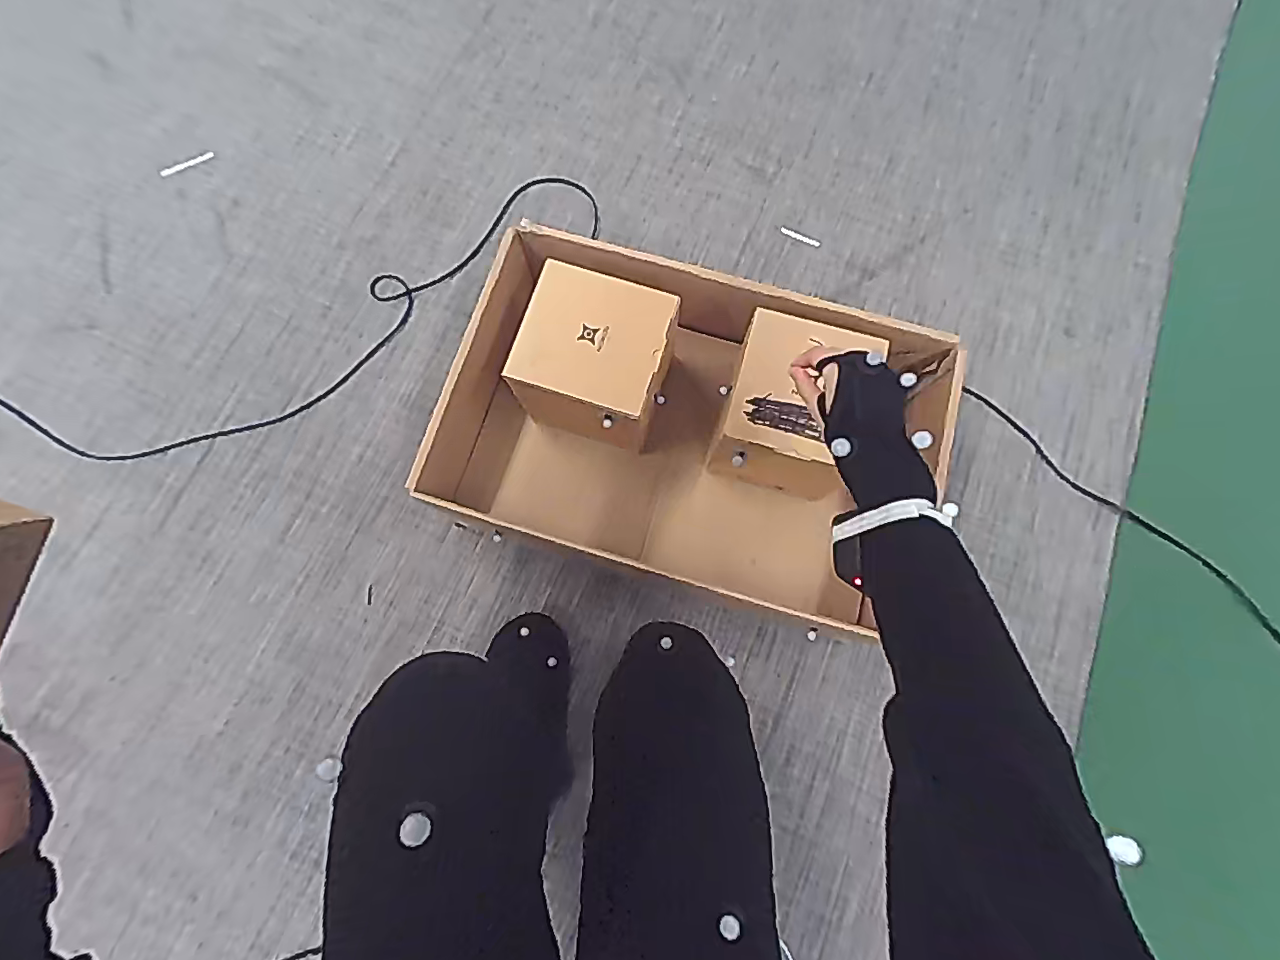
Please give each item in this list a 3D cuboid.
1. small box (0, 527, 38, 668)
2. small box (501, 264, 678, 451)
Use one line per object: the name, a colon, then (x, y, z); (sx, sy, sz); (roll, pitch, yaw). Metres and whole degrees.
small box: (-0.418, 0.082, 0.211); (0.168, 0.176, 0.179); (22, 88, -12)
small box: (-0.060, -0.152, 0.730); (0.179, 0.176, 0.168); (18, 78, 3)
